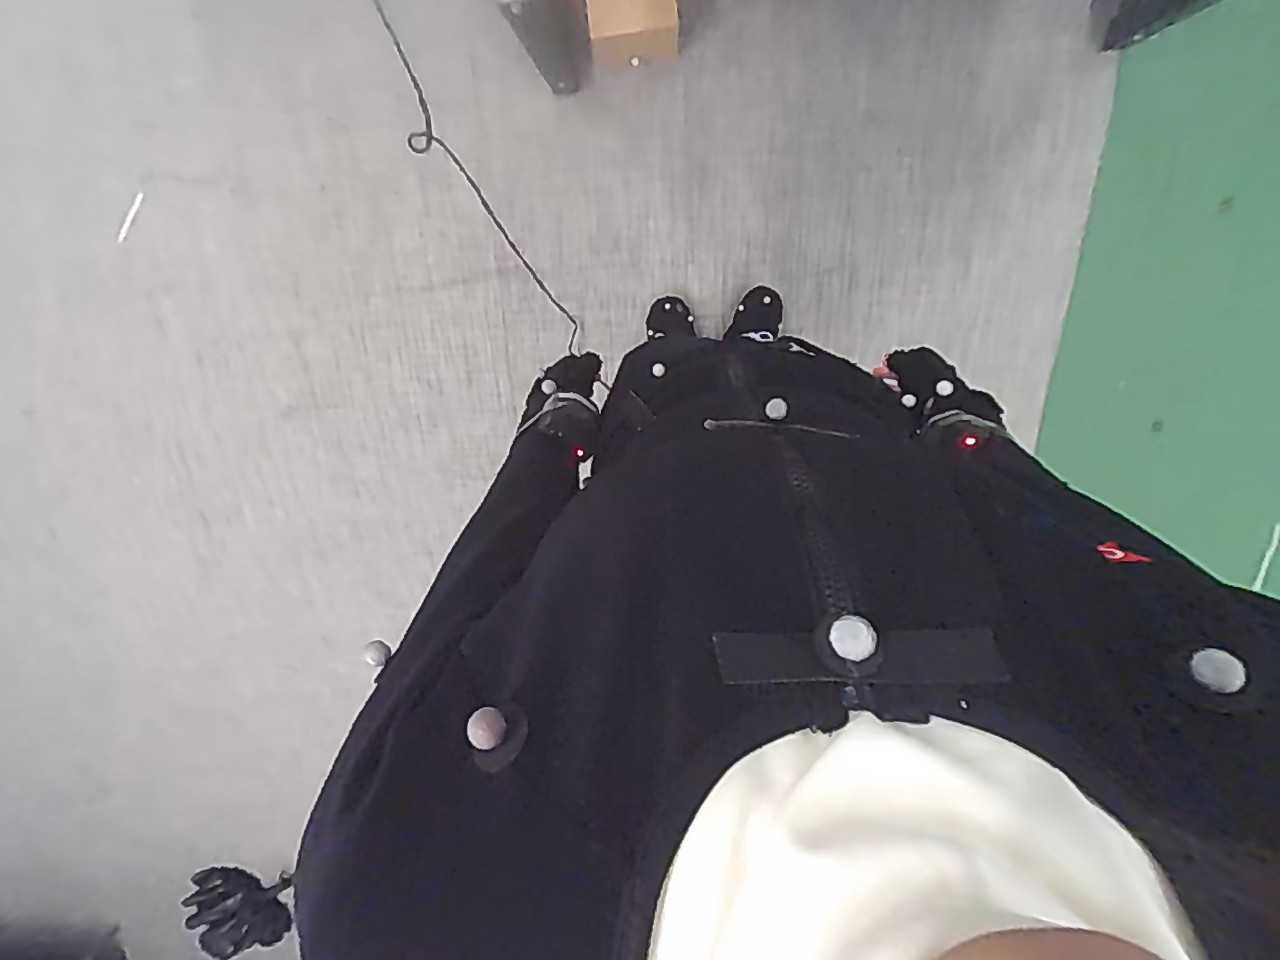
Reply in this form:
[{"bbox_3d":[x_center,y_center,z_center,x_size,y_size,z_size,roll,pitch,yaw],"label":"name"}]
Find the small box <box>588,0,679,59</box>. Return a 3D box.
[{"bbox_3d":[-0.016,-0.948,1.032,0.168,0.176,0.179,-5,111,5],"label":"small box"}]
